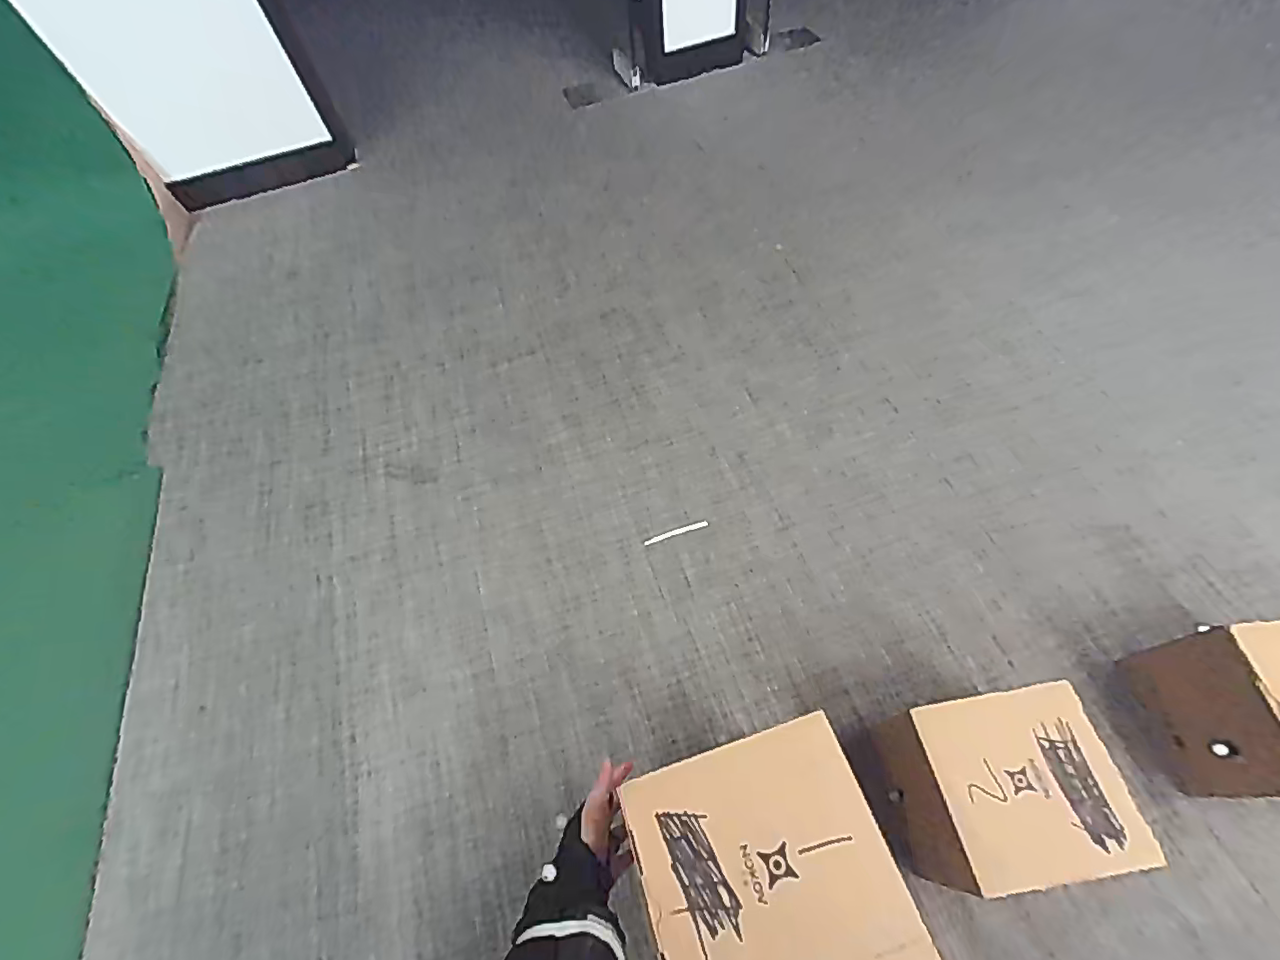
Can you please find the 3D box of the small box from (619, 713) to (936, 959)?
[{"bbox_3d":[0.095,0.317,0.450,0.179,0.176,0.168,-17,59,-6],"label":"small box"}]

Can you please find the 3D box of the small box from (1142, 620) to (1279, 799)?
[{"bbox_3d":[0.730,0.260,0.607,0.179,0.176,0.168,-4,59,3],"label":"small box"}]
